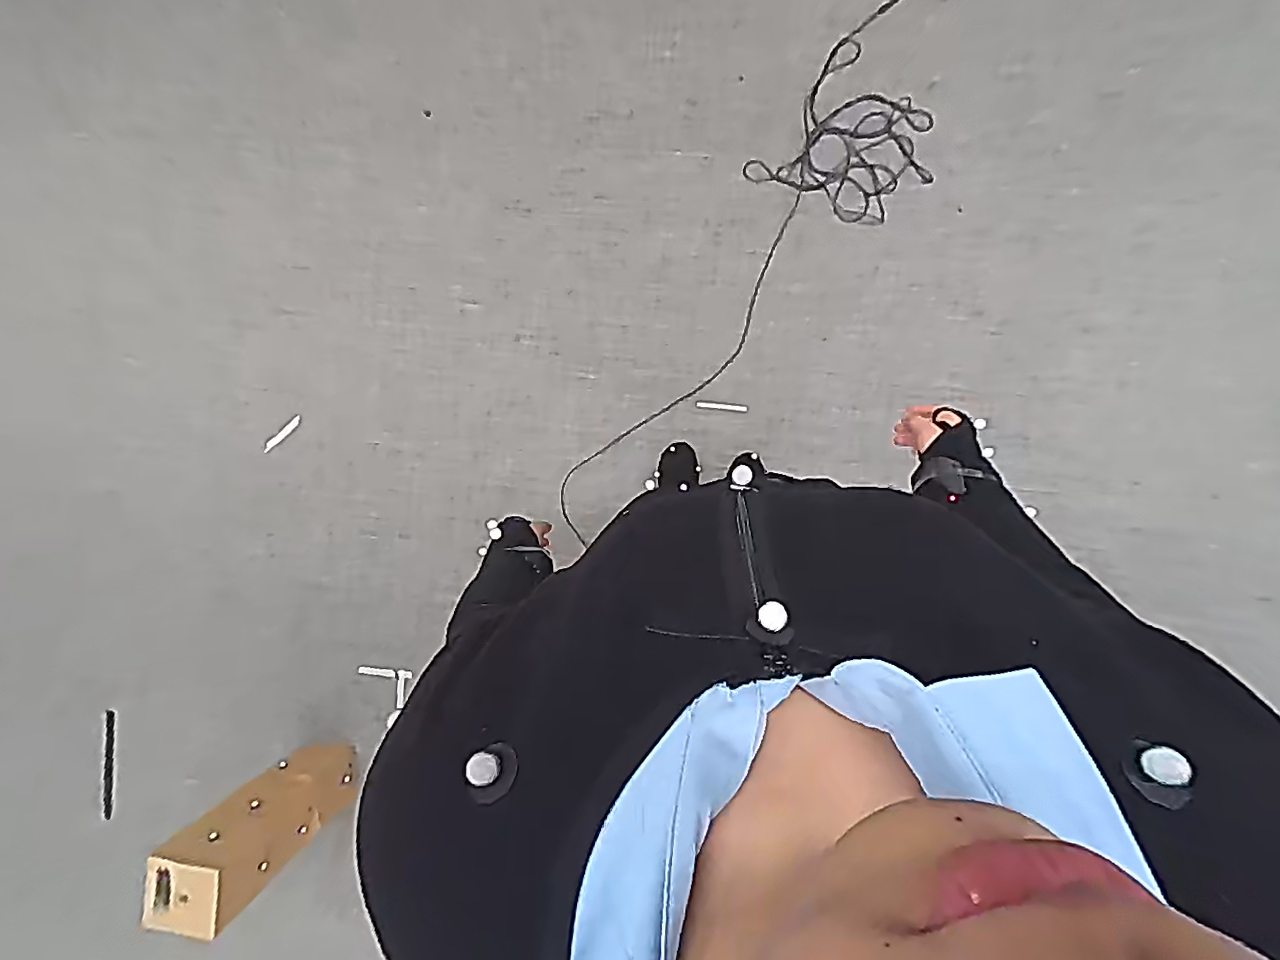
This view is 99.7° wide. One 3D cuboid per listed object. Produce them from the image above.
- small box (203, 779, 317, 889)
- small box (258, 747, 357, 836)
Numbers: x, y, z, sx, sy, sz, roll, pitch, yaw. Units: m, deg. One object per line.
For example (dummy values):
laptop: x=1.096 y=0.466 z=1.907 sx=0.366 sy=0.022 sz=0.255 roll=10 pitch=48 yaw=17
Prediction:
small box: x=-0.993 y=0.920 z=1.422 sx=0.179 sy=0.176 sz=0.168 roll=6 pitch=93 yaw=6
small box: x=-0.968 y=0.907 z=1.583 sx=0.179 sy=0.176 sz=0.168 roll=-6 pitch=92 yaw=7
